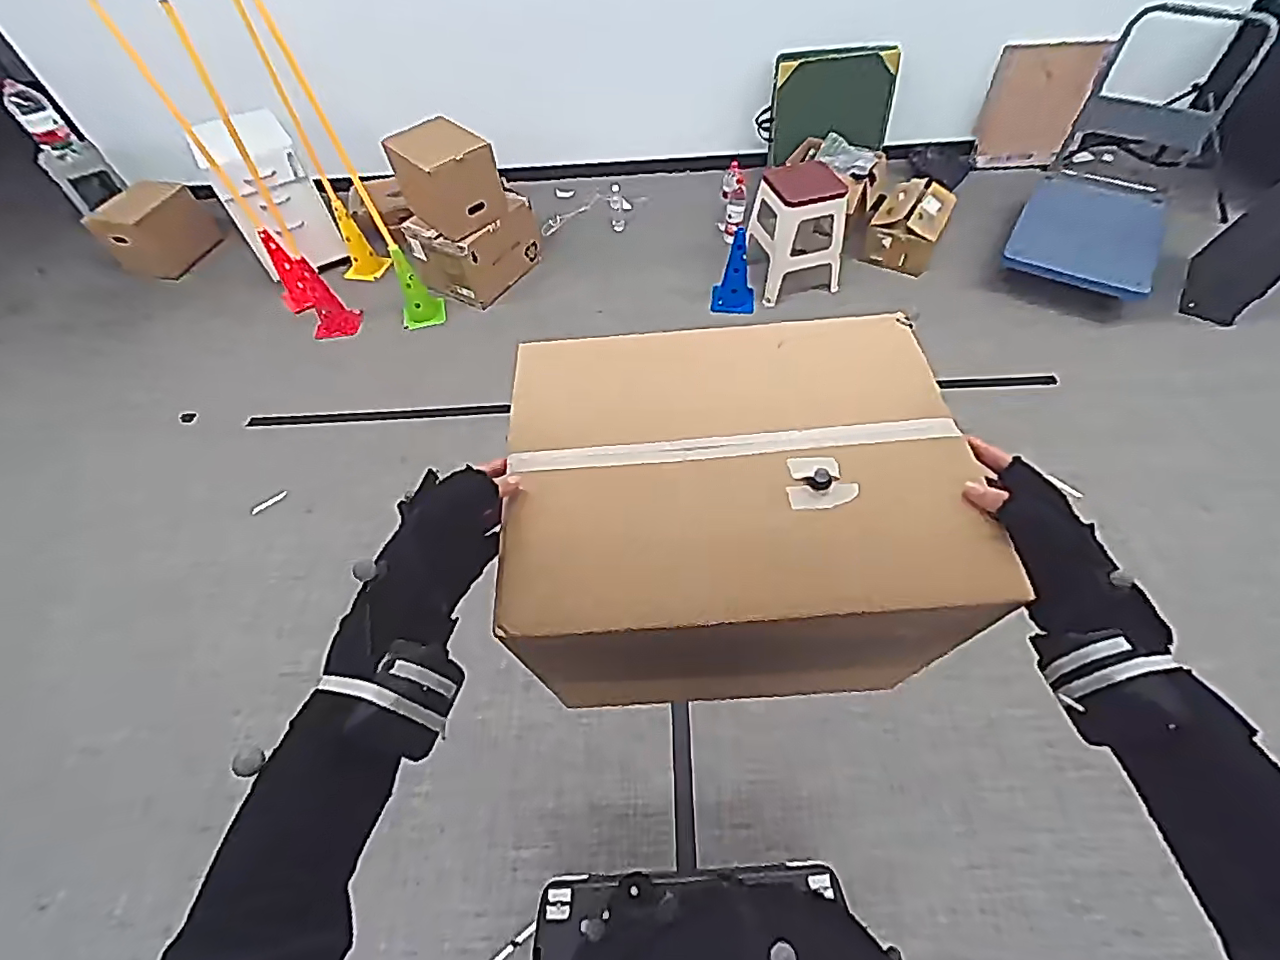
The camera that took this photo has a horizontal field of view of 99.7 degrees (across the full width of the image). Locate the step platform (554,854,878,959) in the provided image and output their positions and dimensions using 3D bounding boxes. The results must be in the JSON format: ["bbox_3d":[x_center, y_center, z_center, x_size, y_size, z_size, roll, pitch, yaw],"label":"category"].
[{"bbox_3d":[0.155,1.014,1.185,0.684,0.204,0.286,-4,55,0],"label":"step platform"}]

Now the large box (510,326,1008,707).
[{"bbox_3d":[0.089,0.058,0.627,0.408,0.320,0.320,-4,58,1],"label":"large box"}]
